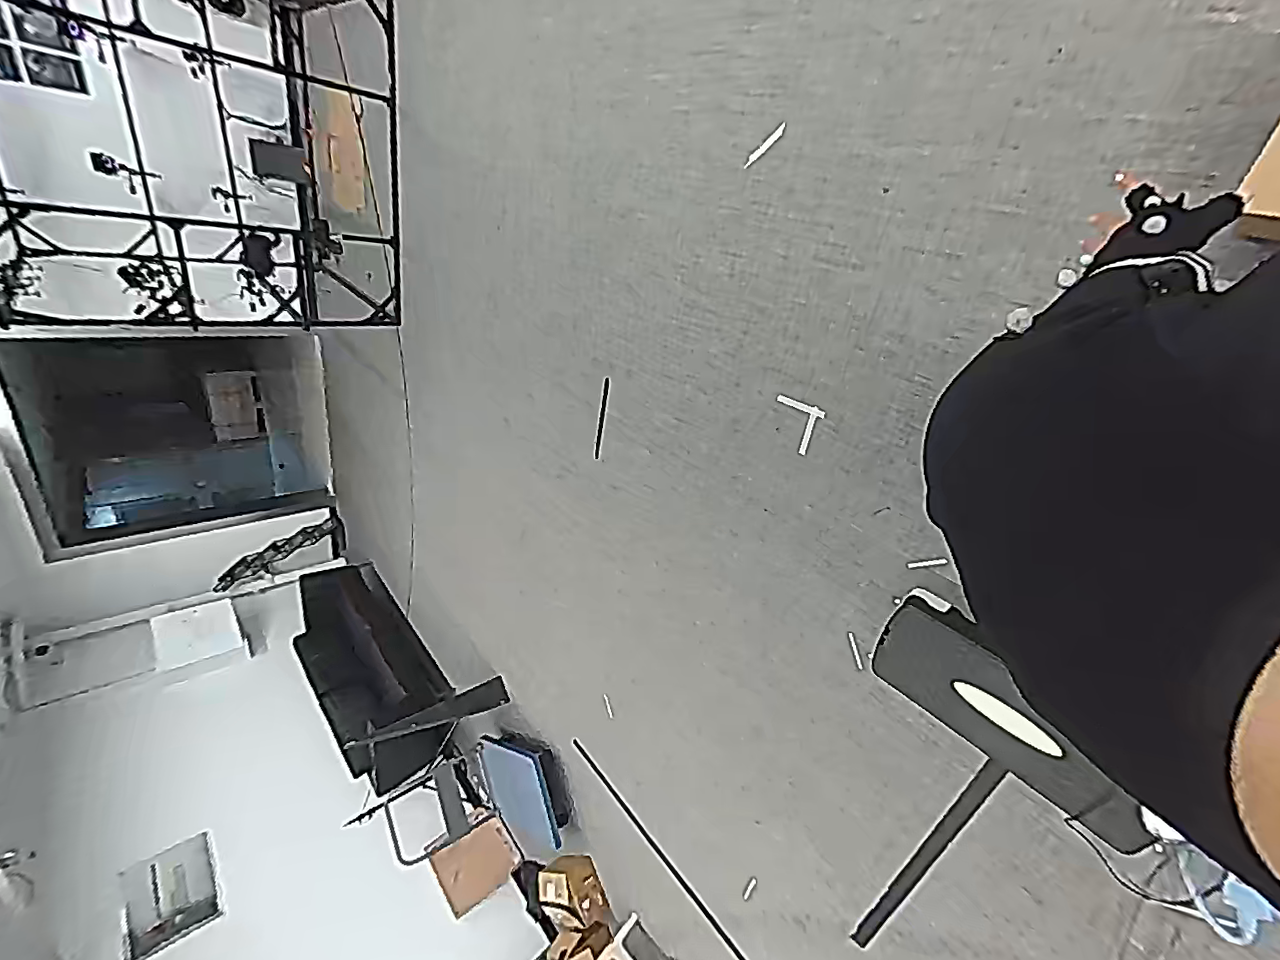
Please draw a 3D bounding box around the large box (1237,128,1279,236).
[{"bbox_3d":[1.128,-0.474,0.696,0.408,0.320,0.320,35,125,37],"label":"large box"}]
